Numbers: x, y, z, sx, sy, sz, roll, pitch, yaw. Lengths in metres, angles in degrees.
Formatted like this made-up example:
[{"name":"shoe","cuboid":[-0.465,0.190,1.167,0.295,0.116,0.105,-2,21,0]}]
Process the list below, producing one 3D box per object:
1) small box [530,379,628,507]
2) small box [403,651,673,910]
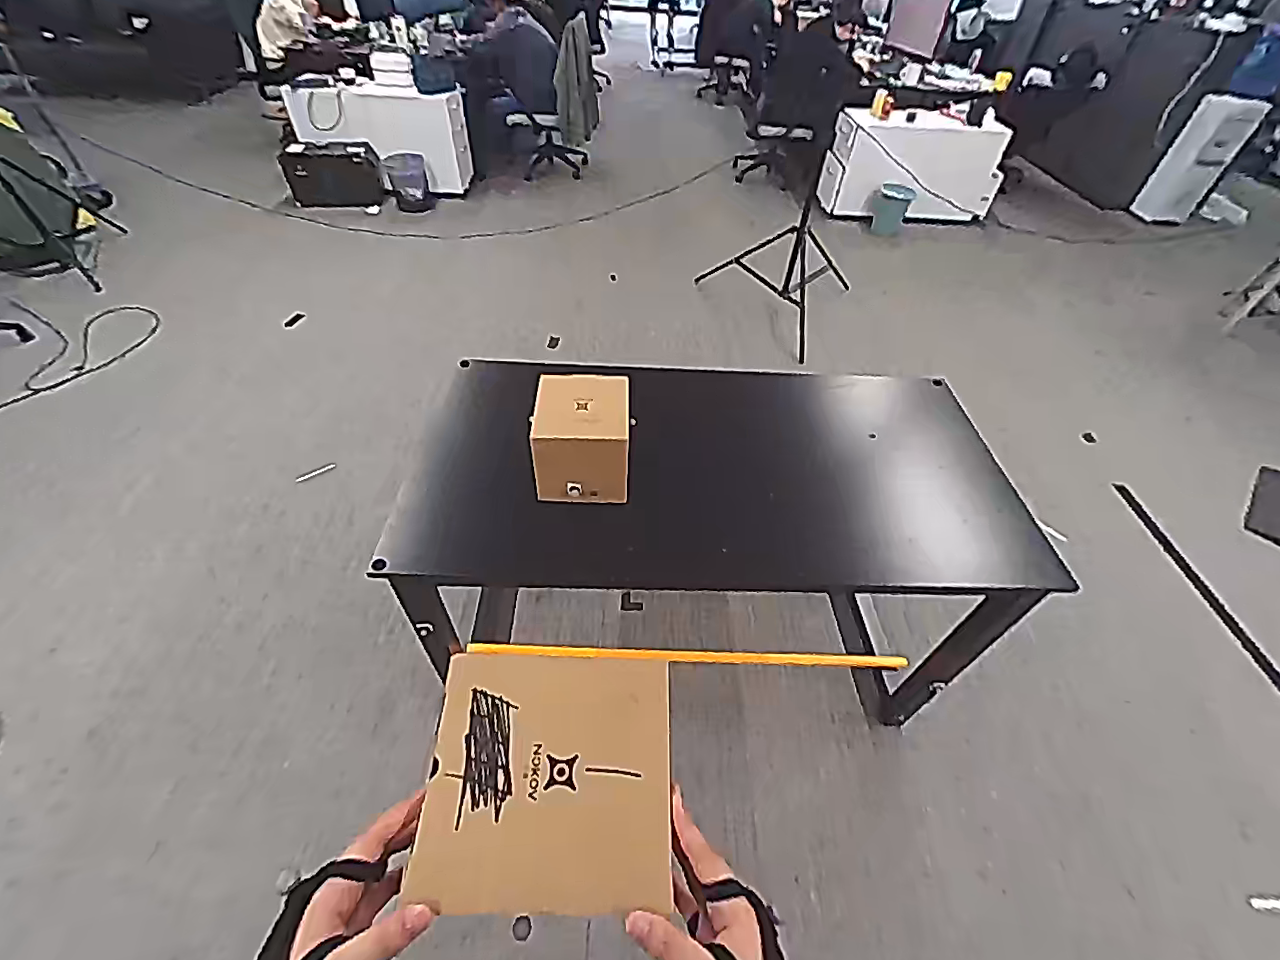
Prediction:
[{"name":"small box","cuboid":[-0.107,-0.070,1.014,0.168,0.176,0.179,-1,47,-2]},{"name":"small box","cuboid":[-0.067,0.255,0.454,0.179,0.176,0.168,2,53,-2]}]
